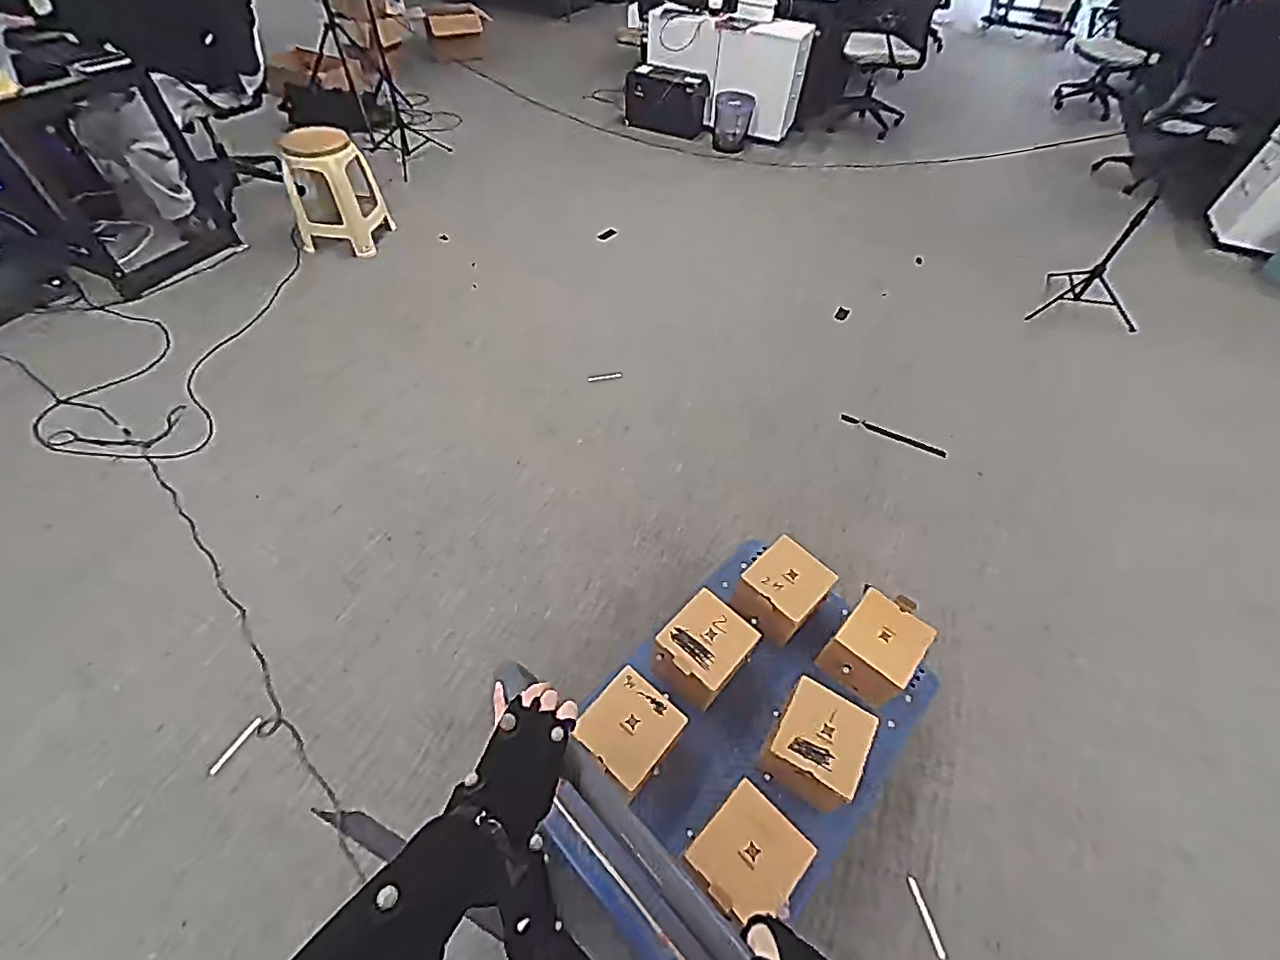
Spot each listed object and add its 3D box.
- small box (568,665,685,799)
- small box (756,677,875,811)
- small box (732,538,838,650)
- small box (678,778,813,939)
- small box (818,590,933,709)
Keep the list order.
[{"bbox_3d":[-0.028,0.528,1.124,0.168,0.176,0.179,37,59,22],"label":"small box"},{"bbox_3d":[0.358,0.555,1.130,0.168,0.176,0.179,29,55,18],"label":"small box"},{"bbox_3d":[0.349,0.284,1.340,0.179,0.176,0.168,-35,61,-26],"label":"small box"},{"bbox_3d":[0.185,0.701,1.007,0.179,0.176,0.168,-36,63,-28],"label":"small box"},{"bbox_3d":[0.539,0.401,1.263,0.168,0.176,0.179,37,58,23],"label":"small box"}]
